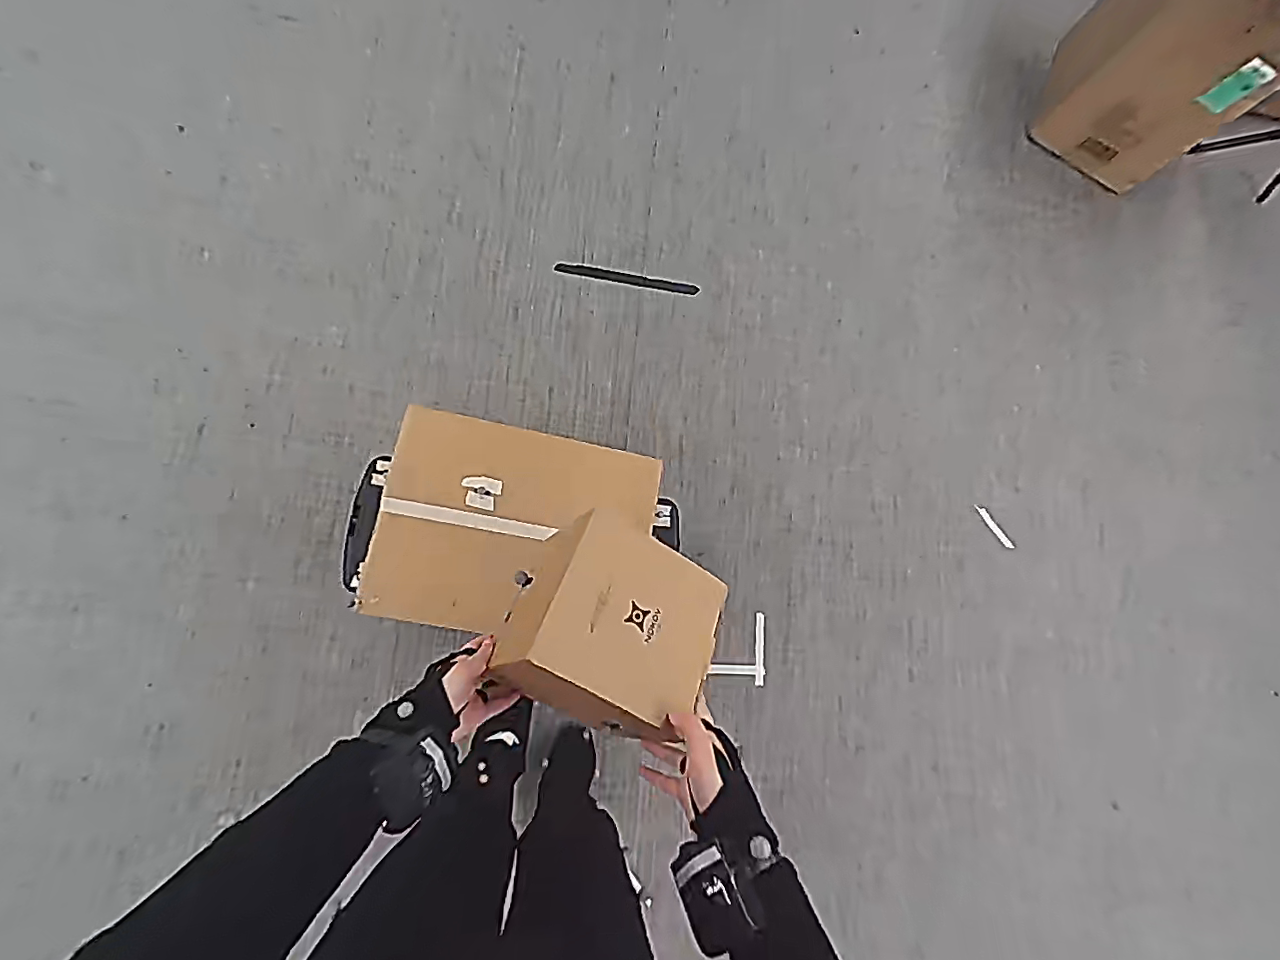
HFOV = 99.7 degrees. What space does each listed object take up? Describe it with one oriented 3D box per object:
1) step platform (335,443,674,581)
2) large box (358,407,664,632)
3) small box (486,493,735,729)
[{"bbox_3d":[-0.269,0.139,1.177,0.684,0.204,0.286,14,78,-7],"label":"step platform"},{"bbox_3d":[-0.199,0.098,0.951,0.408,0.320,0.320,12,77,-7],"label":"large box"},{"bbox_3d":[-0.034,0.145,0.577,0.179,0.176,0.168,33,56,-15],"label":"small box"}]
